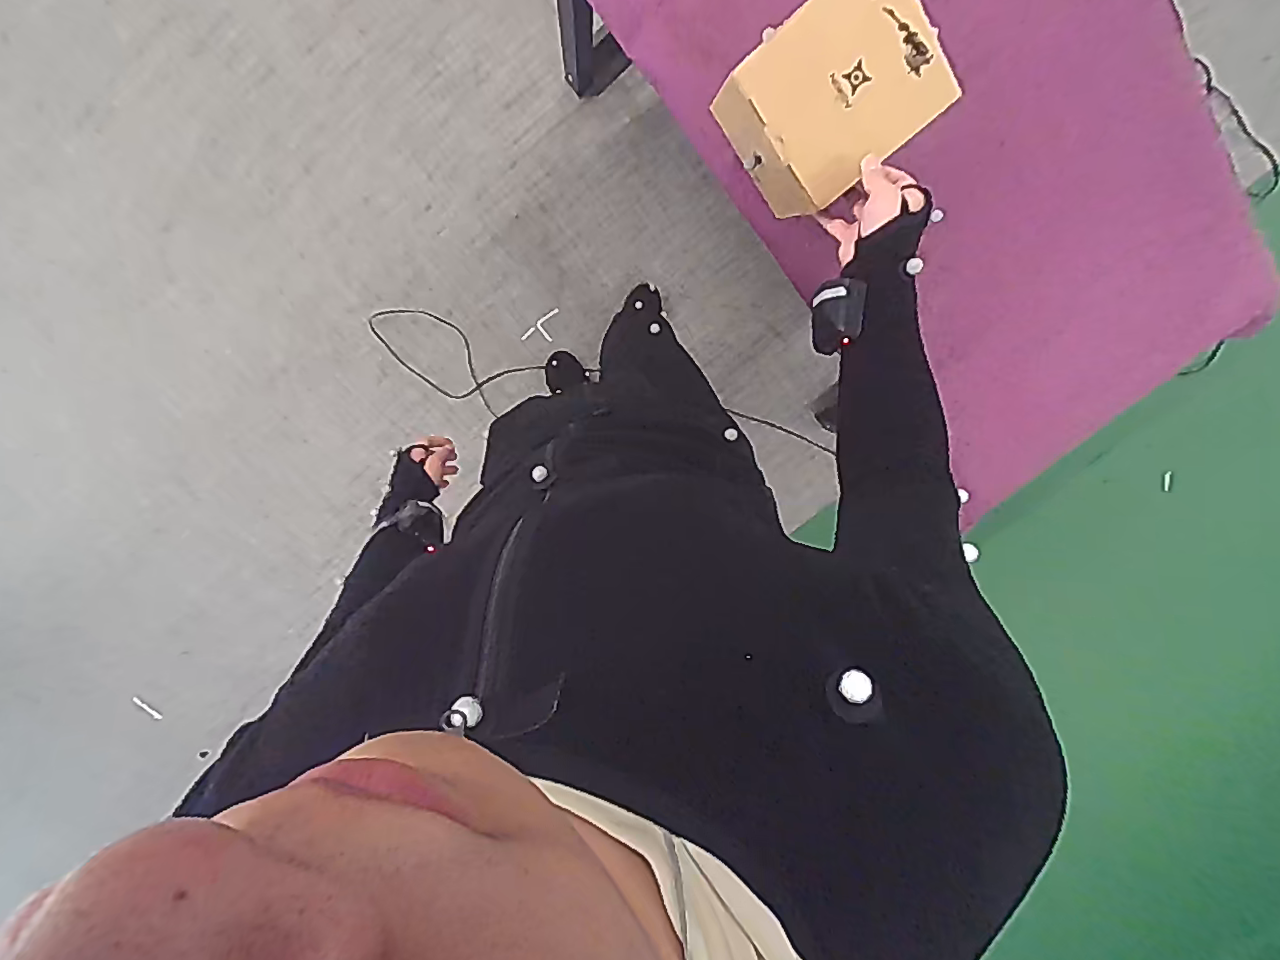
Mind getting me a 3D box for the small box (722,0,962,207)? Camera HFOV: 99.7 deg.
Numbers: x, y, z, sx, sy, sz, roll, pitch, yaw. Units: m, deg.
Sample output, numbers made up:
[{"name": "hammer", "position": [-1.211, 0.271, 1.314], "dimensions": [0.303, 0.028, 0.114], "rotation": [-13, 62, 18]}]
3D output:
[{"name": "small box", "position": [0.207, -0.433, 0.609], "dimensions": [0.179, 0.176, 0.168], "rotation": [-36, 110, 15]}]
